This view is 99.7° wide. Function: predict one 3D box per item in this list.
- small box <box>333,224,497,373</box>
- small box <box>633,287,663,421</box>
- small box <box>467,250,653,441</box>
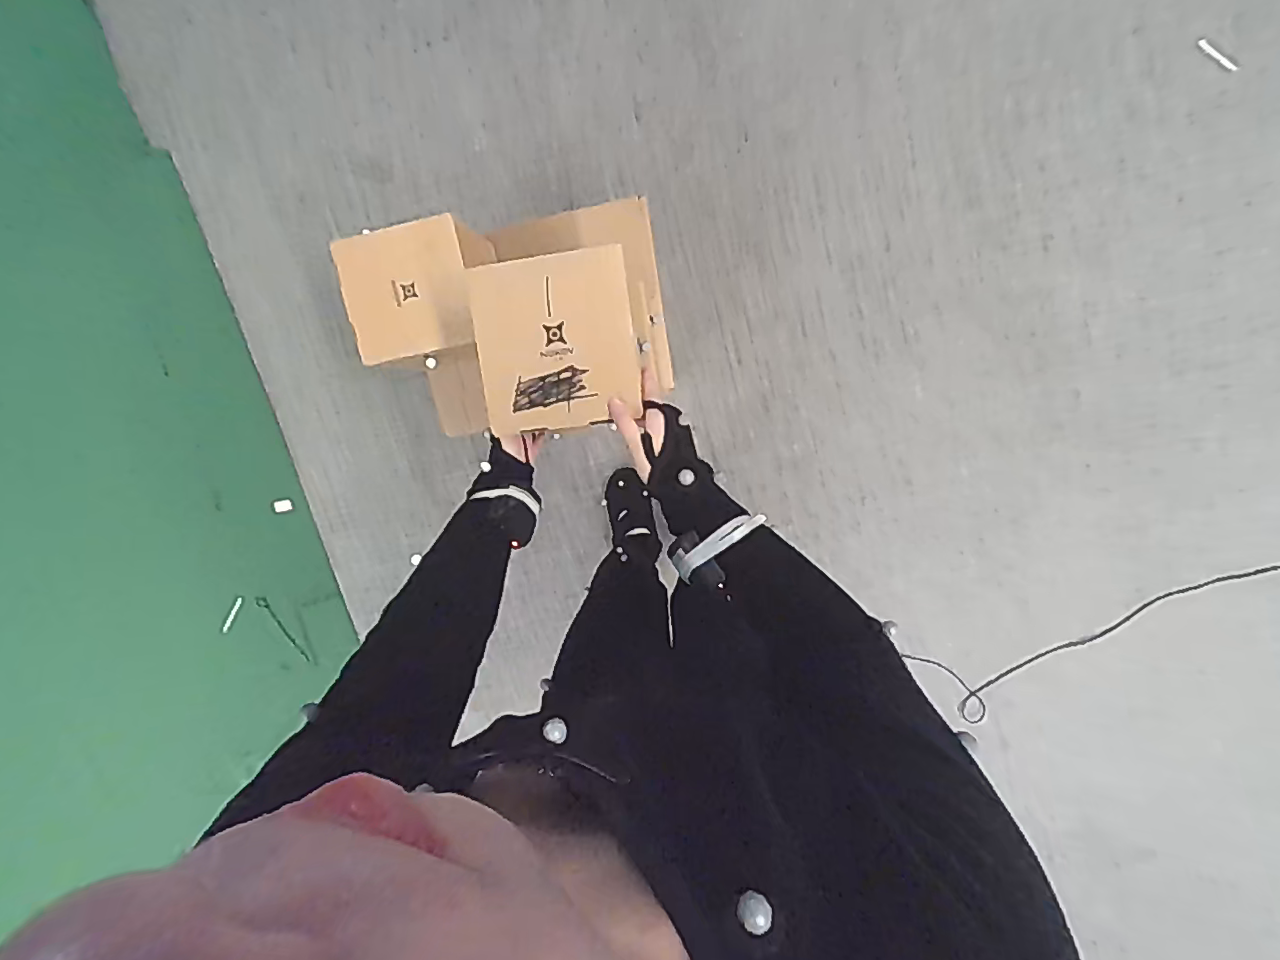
[{"bbox_3d":[-0.305,-0.256,0.803,0.179,0.176,0.168,-10,98,6],"label":"small box"},{"bbox_3d":[-0.059,-0.168,0.800,0.168,0.176,0.179,-8,98,6],"label":"small box"},{"bbox_3d":[-0.080,-0.145,0.636,0.168,0.176,0.179,-7,95,6],"label":"small box"}]
